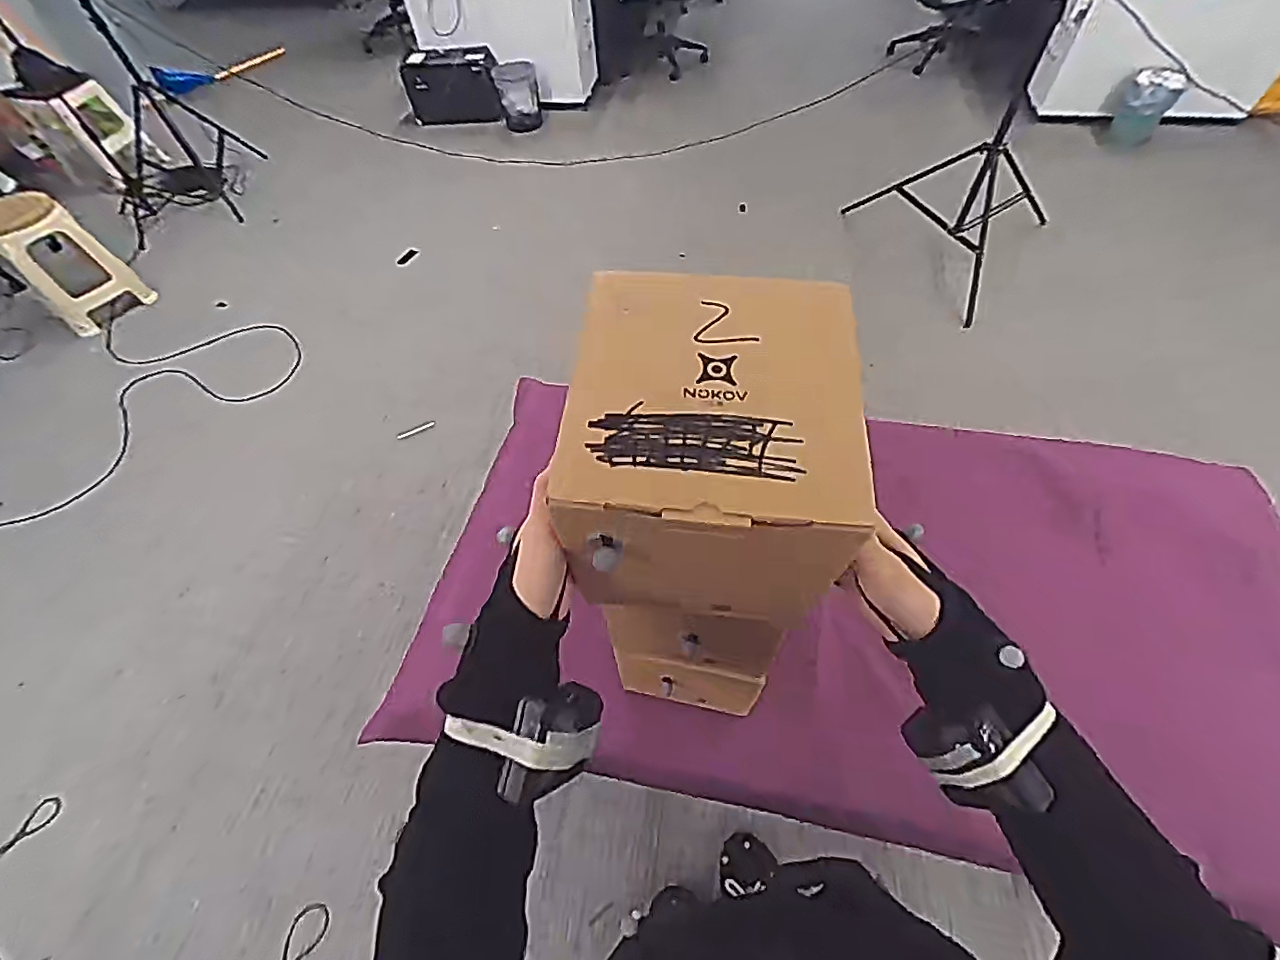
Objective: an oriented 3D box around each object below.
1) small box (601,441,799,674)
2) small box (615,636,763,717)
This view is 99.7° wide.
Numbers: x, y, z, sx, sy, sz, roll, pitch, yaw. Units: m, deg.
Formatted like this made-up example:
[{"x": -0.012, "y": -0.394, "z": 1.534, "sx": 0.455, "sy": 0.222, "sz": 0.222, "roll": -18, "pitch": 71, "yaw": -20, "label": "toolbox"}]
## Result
[{"x": 0.066, "y": 0.085, "z": 0.565, "sx": 0.168, "sy": 0.176, "sz": 0.179, "roll": 7, "pitch": 55, "yaw": 8, "label": "small box"}, {"x": 0.075, "y": 0.186, "z": 0.694, "sx": 0.168, "sy": 0.176, "sz": 0.179, "roll": 9, "pitch": 55, "yaw": 10, "label": "small box"}]
